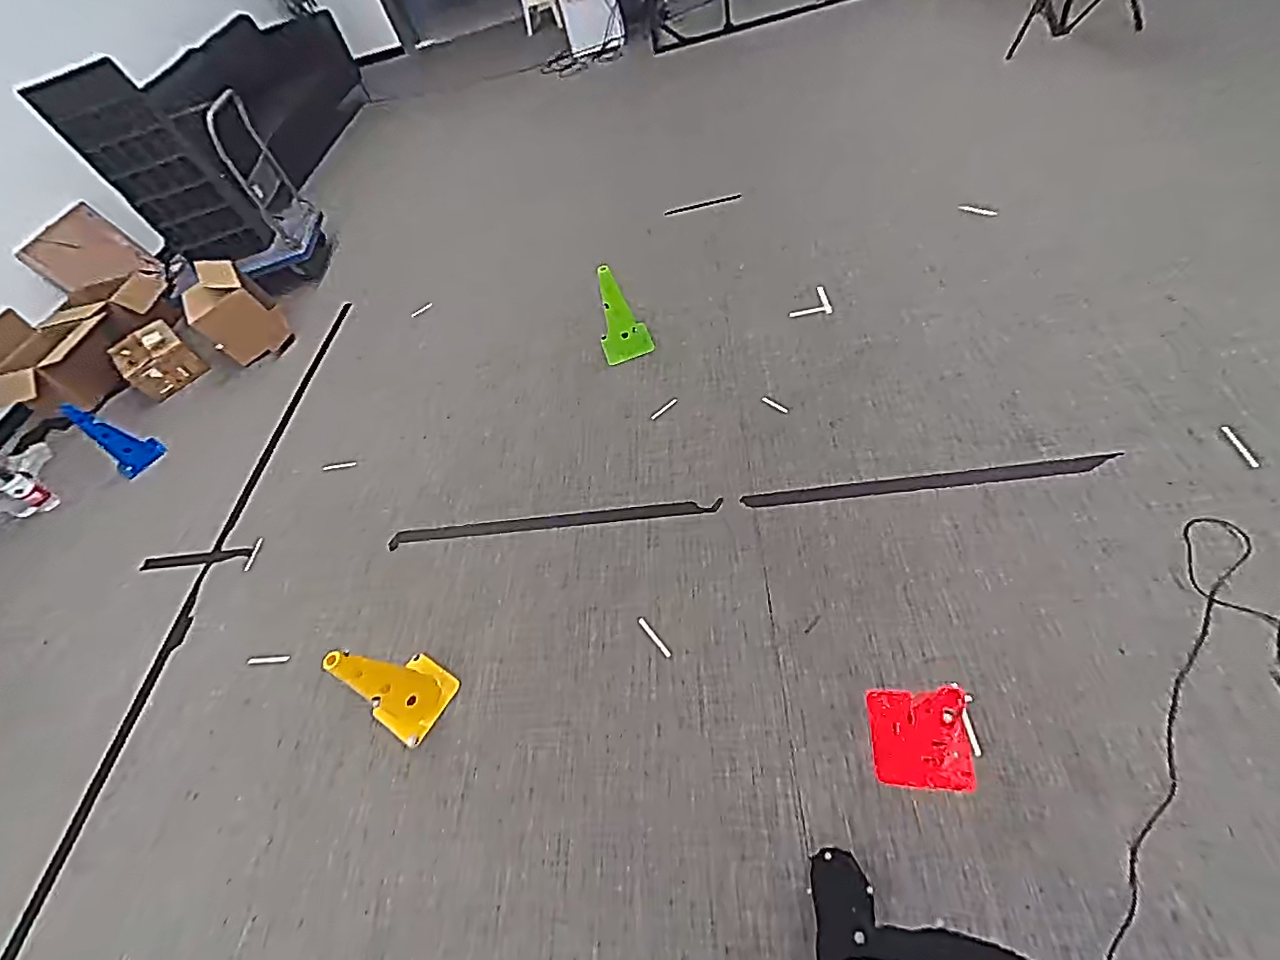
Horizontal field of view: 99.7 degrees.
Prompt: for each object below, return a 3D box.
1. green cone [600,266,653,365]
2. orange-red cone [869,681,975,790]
[{"bbox_3d":[-0.096,-0.666,2.121,0.202,0.368,0.200,-20,52,0],"label":"green cone"},{"bbox_3d":[0.579,0.472,1.070,0.199,0.360,0.198,-2,53,17],"label":"orange-red cone"}]
